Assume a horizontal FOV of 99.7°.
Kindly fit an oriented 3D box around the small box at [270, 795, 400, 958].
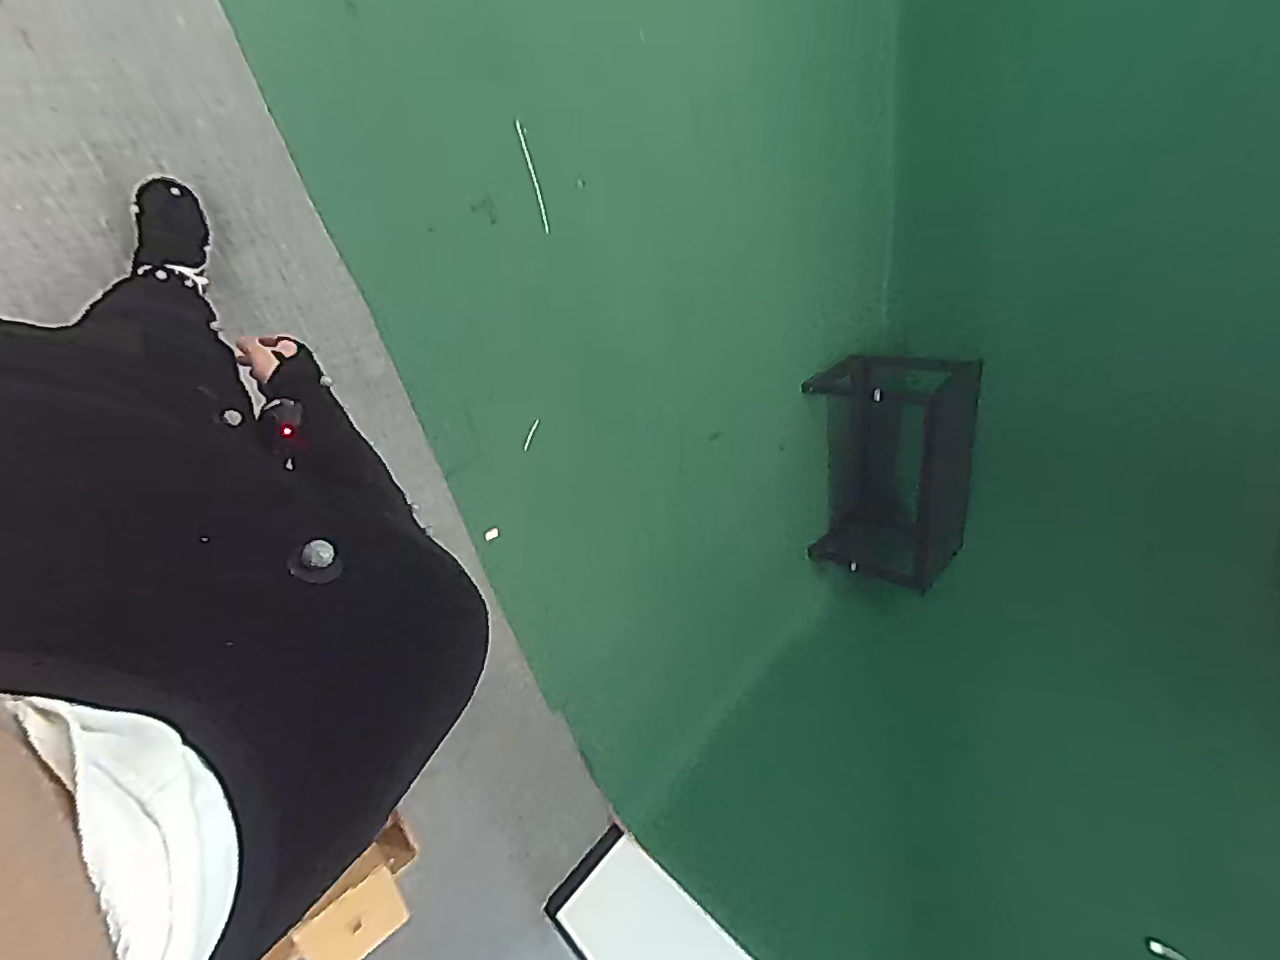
[{"bbox_3d":[-0.624,0.798,1.108,0.168,0.176,0.179,-27,122,-37],"label":"small box"}]
